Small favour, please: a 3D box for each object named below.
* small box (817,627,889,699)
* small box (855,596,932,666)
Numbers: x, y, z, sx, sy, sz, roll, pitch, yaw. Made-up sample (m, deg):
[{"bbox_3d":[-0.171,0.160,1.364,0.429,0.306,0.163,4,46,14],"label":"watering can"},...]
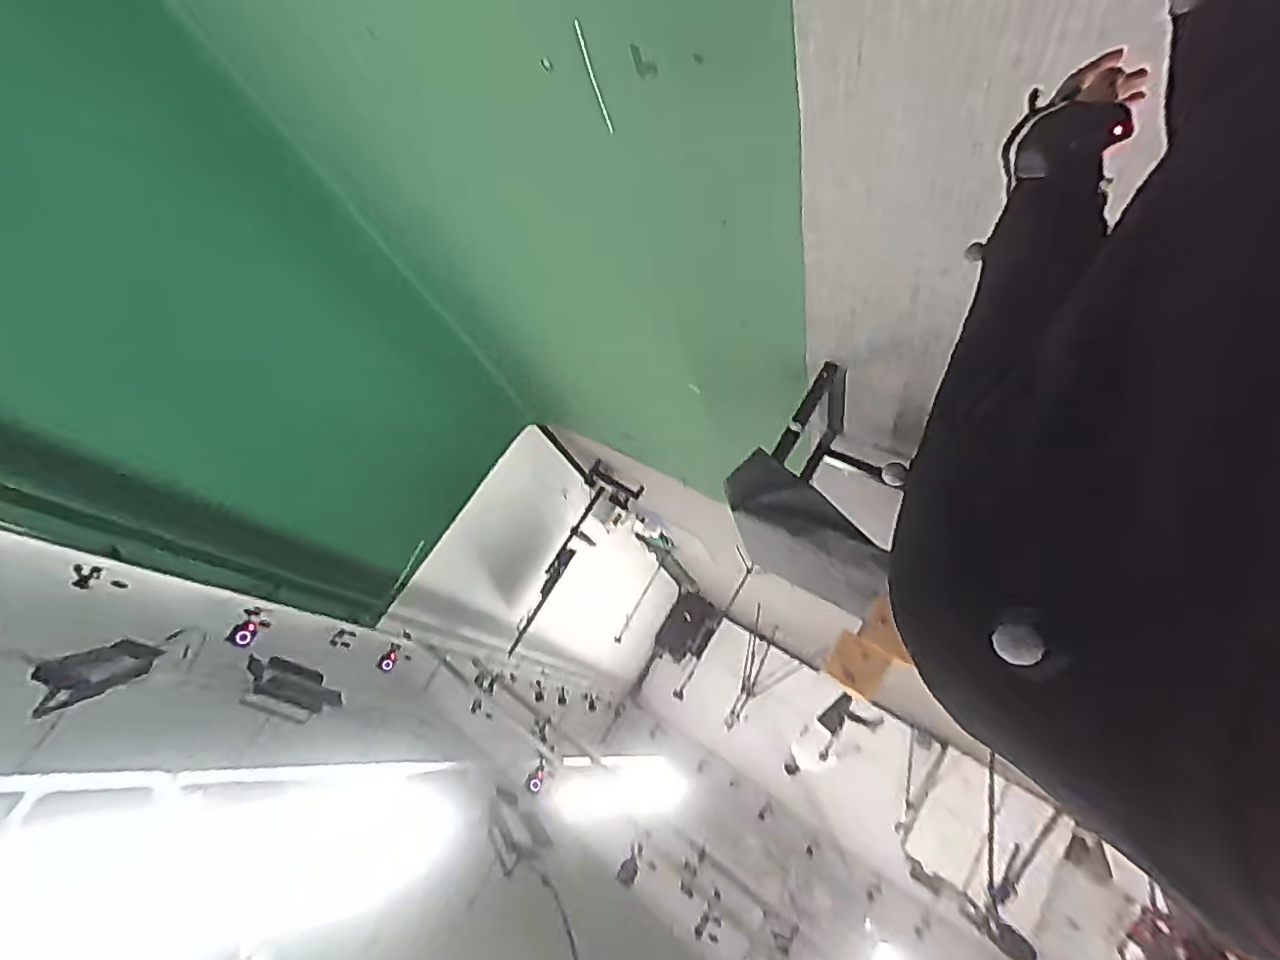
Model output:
[{"bbox_3d":[0.723,0.622,1.839,0.168,0.176,0.179,29,167,22],"label":"small box"},{"bbox_3d":[0.849,0.504,1.828,0.179,0.176,0.168,28,168,21],"label":"small box"}]
